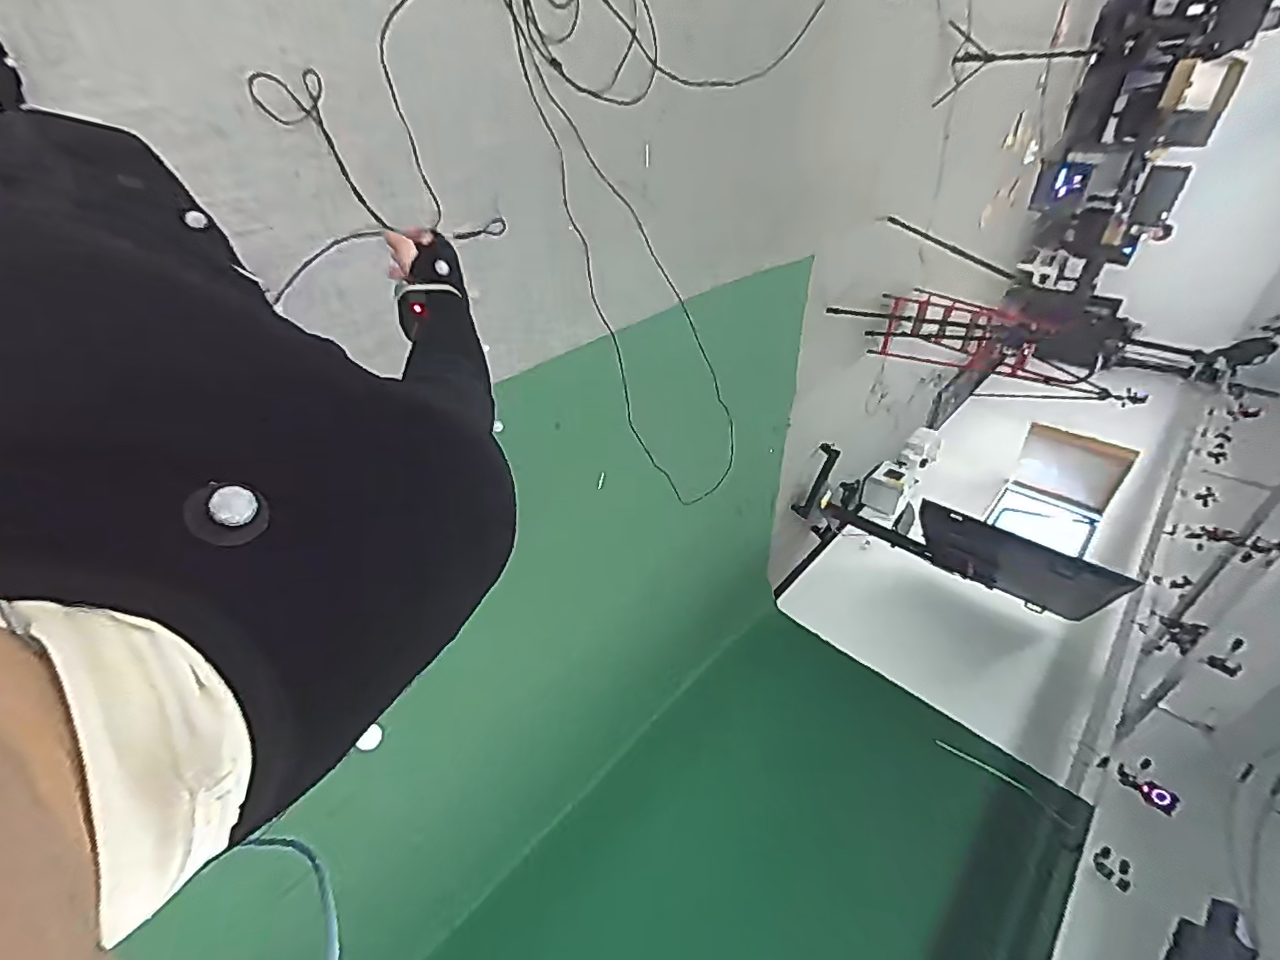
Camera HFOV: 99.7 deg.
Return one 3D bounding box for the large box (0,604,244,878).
[{"bbox_3d":[-1.174,0.553,1.169,0.320,0.320,0.408,-36,139,-31],"label":"large box"}]
